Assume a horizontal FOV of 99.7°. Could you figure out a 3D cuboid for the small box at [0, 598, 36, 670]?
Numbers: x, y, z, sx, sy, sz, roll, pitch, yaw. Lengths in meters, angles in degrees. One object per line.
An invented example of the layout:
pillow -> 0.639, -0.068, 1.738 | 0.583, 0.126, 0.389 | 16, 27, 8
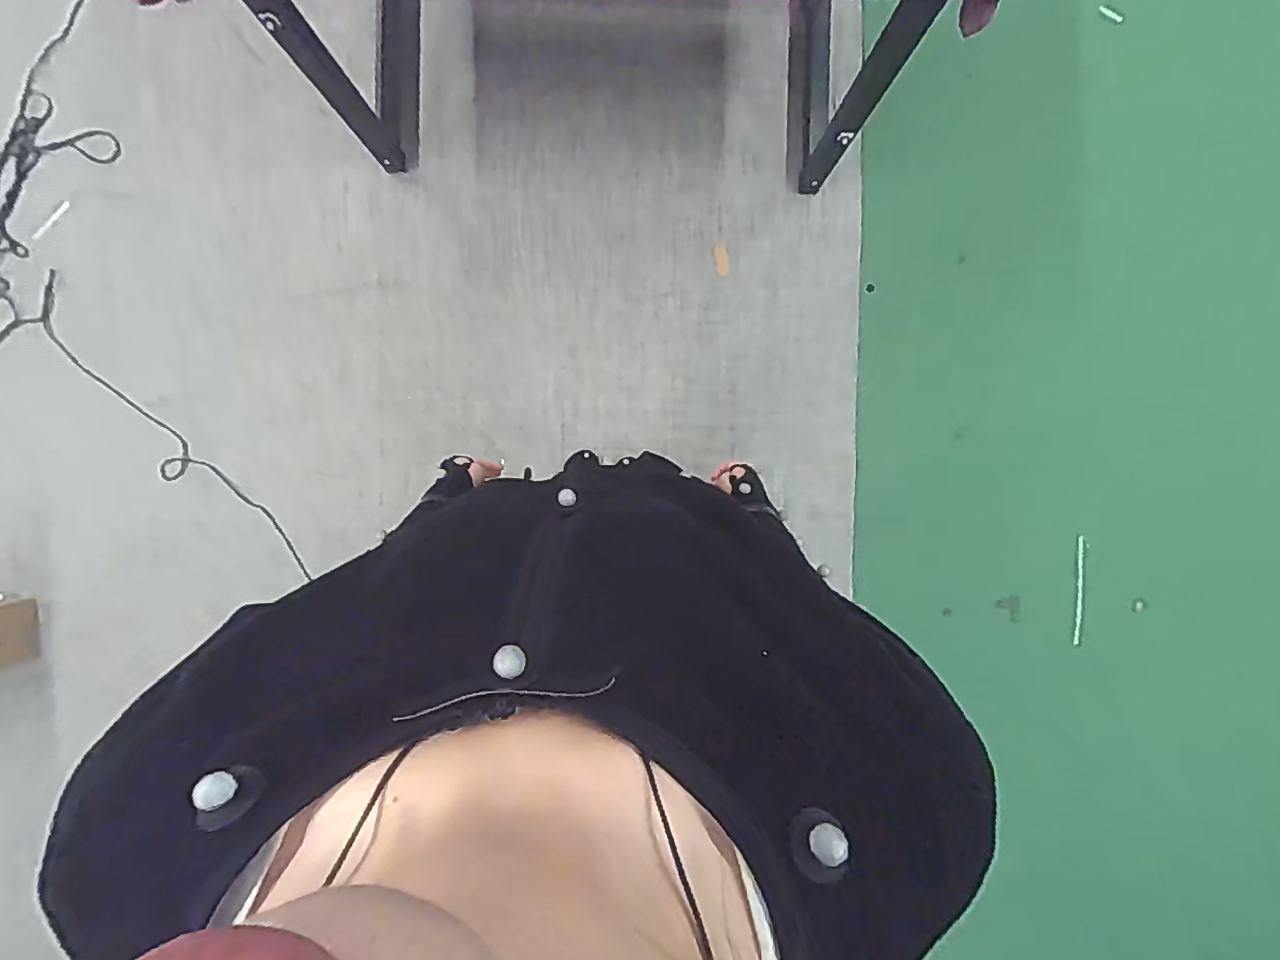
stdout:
small box -> -1.751, 0.415, 1.415 | 0.168, 0.176, 0.179 | -1, 91, -1
